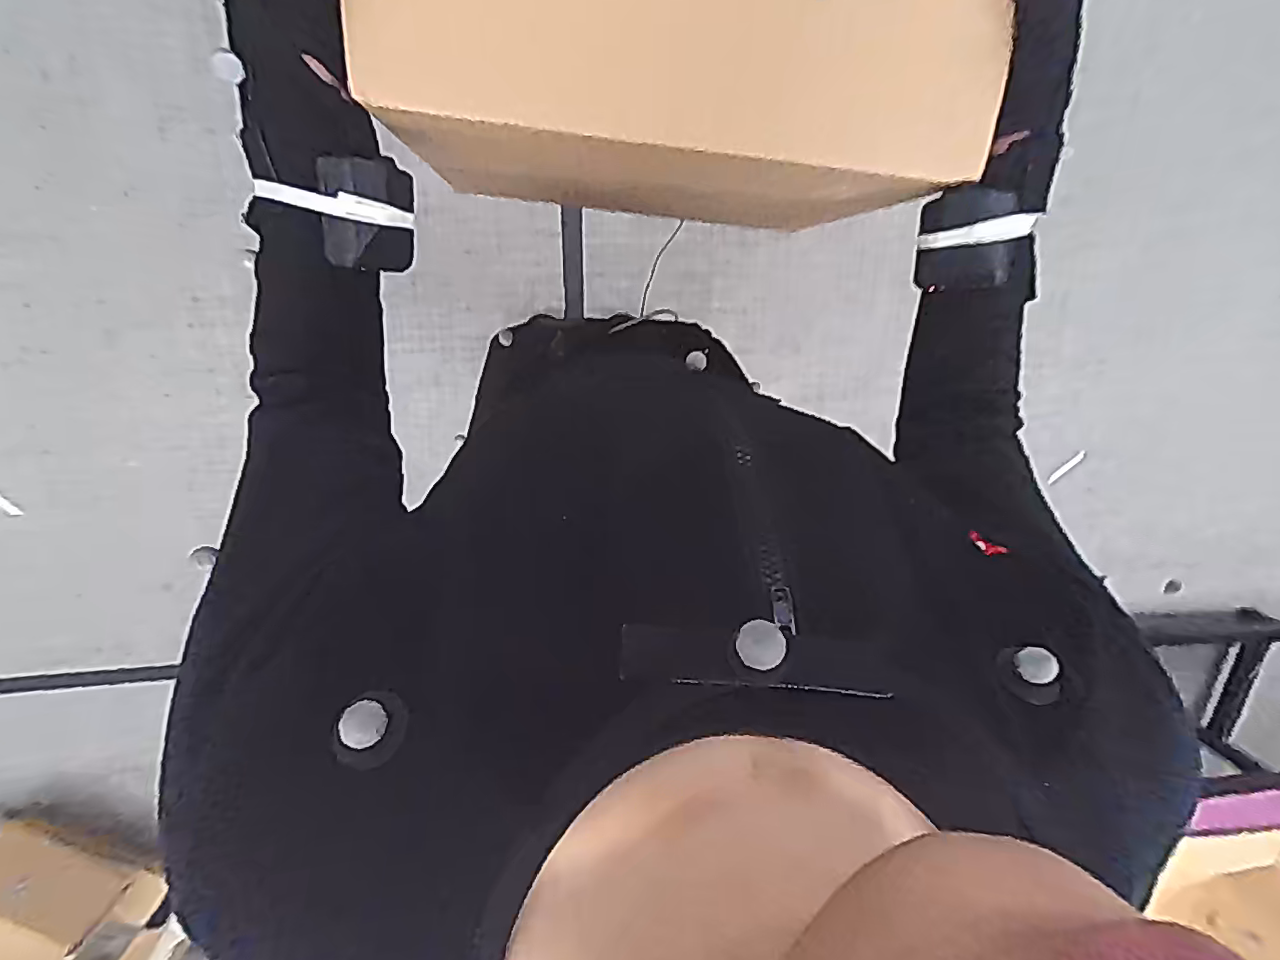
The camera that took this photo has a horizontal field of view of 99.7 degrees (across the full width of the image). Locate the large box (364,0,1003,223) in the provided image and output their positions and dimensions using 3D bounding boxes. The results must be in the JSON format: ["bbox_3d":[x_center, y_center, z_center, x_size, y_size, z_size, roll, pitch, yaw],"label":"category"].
[{"bbox_3d":[0.023,-0.413,0.444,0.408,0.320,0.320,2,110,-9],"label":"large box"}]
